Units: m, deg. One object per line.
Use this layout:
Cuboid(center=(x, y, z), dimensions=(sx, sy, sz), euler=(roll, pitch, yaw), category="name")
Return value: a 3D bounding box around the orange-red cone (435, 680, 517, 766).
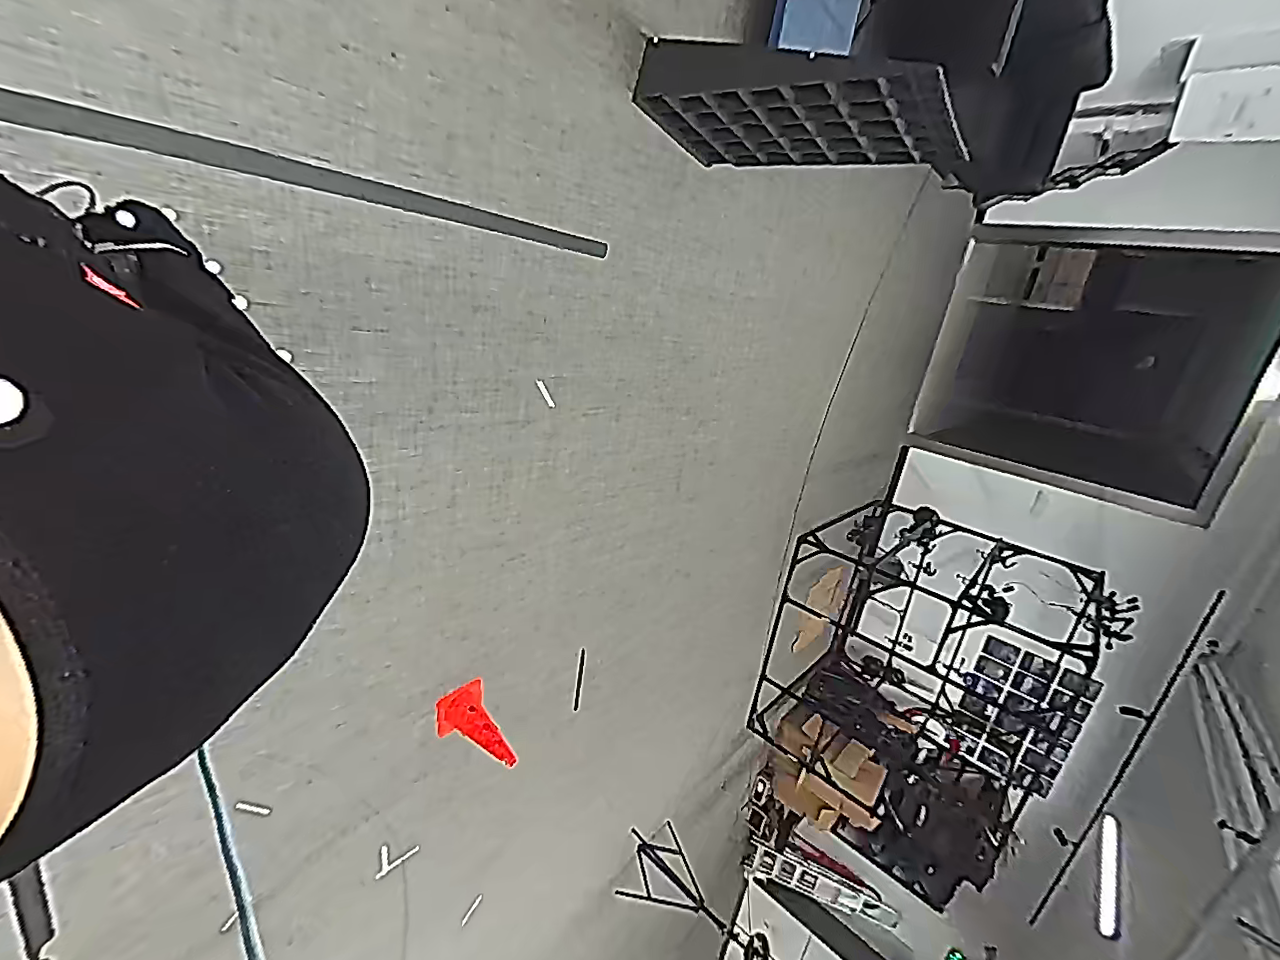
Cuboid(center=(-0.590, 0.958, 2.040), dimensions=(0.198, 0.360, 0.199), euler=(-18, 121, -47), category="orange-red cone")
